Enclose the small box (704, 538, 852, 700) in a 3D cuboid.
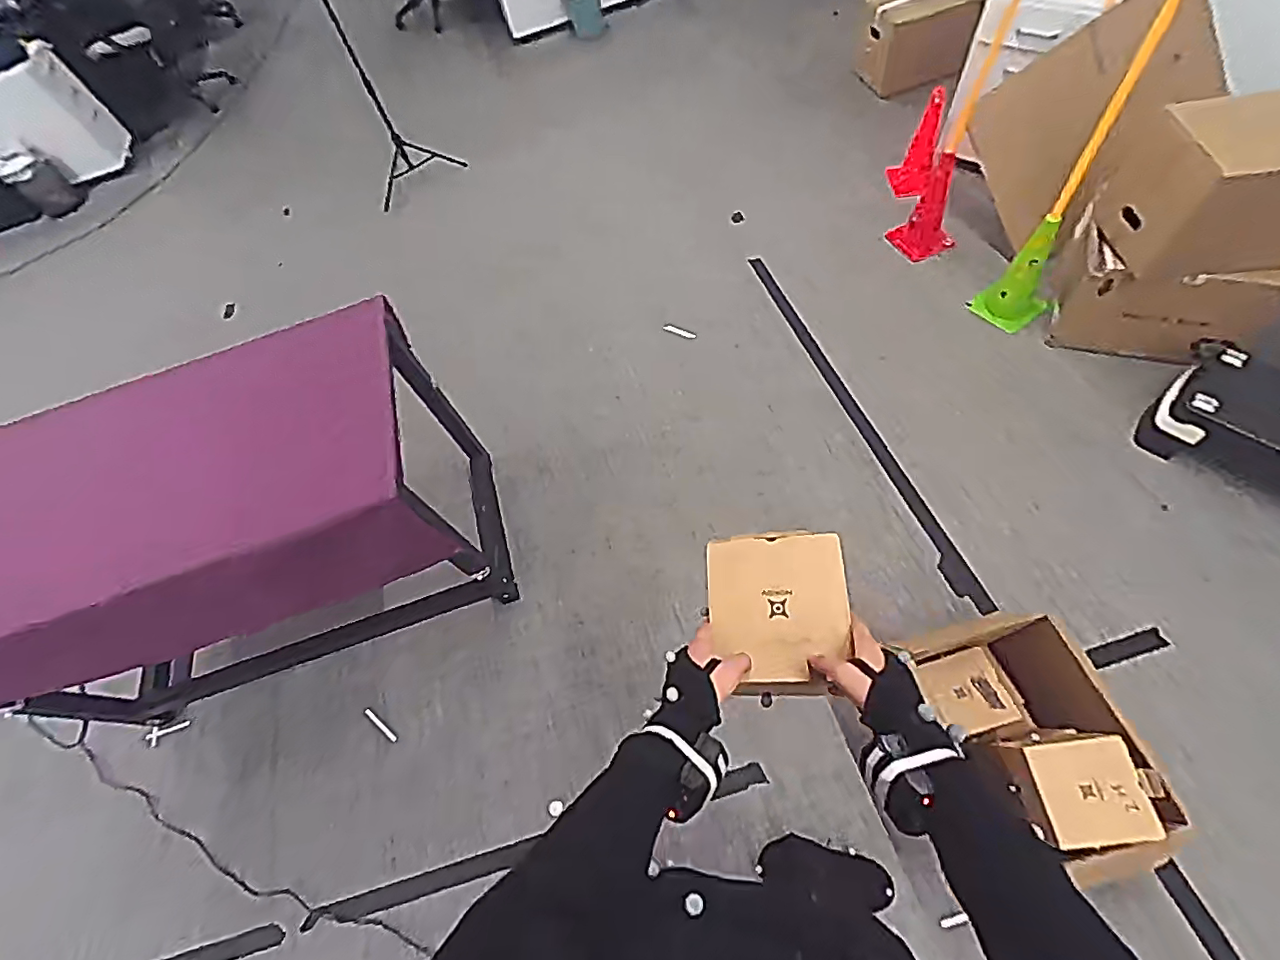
[{"bbox_3d":[0.174,0.191,0.725,0.168,0.176,0.179,-4,62,10],"label":"small box"}]
